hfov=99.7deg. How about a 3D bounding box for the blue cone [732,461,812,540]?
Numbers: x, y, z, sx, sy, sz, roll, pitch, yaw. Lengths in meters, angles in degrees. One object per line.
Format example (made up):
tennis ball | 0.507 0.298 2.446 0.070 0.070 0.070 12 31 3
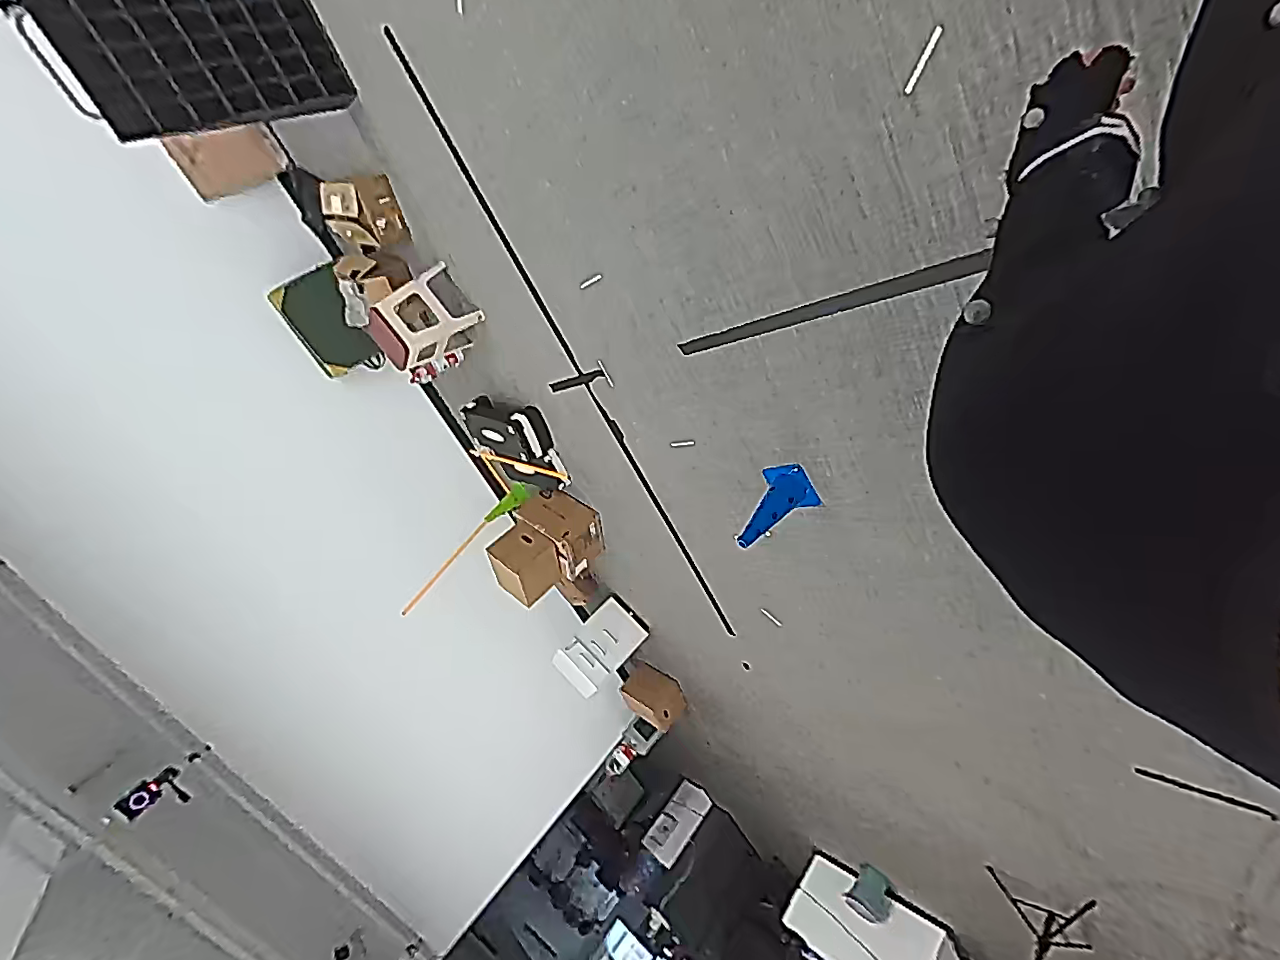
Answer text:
blue cone | 0.472 0.106 2.061 0.193 0.380 0.192 -8 118 55
